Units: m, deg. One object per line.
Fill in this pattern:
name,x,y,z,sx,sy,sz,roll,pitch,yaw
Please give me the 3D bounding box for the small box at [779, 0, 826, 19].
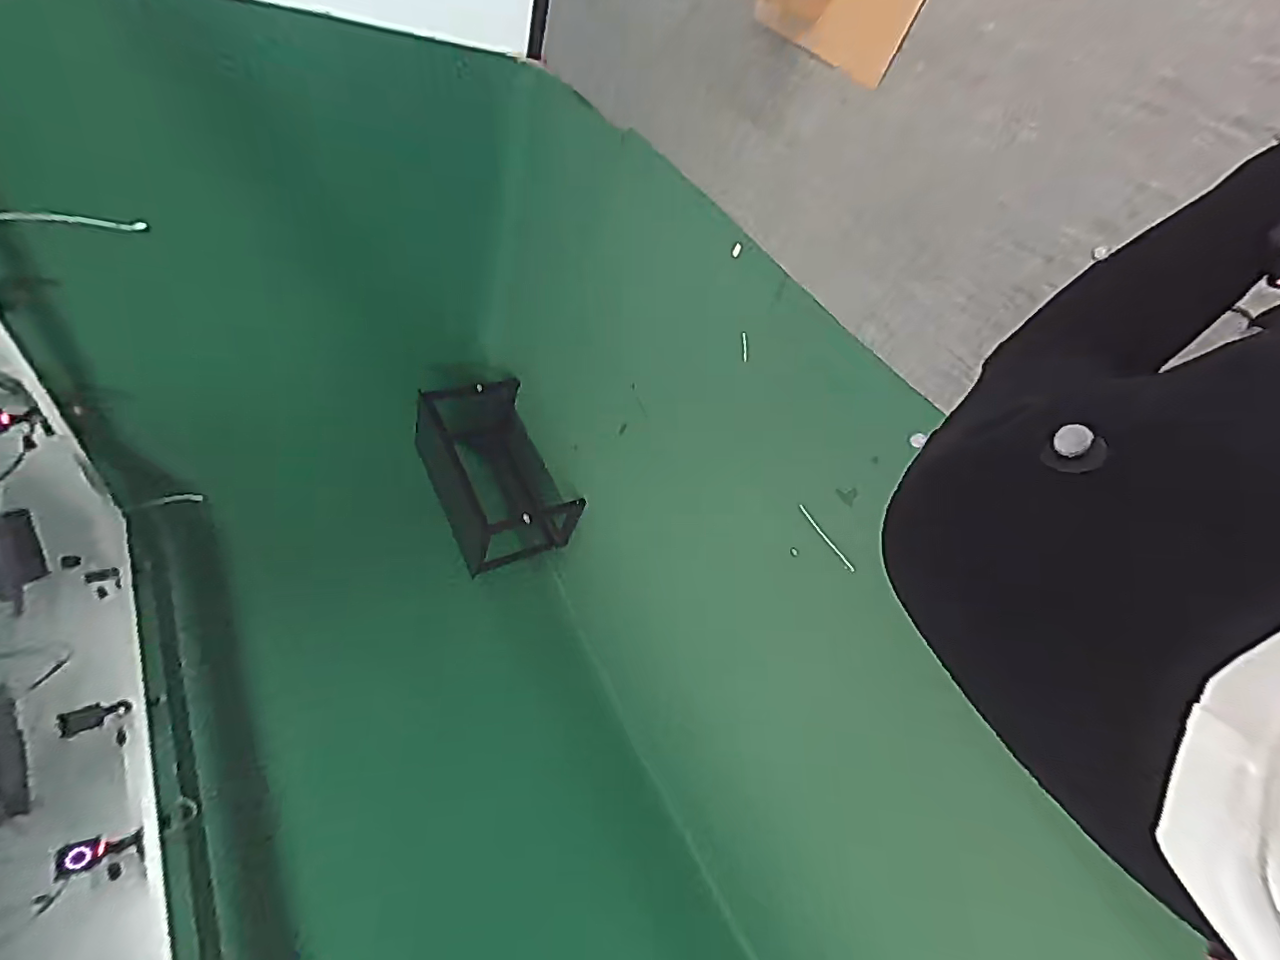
small box,0.471,-1.497,1.567,0.168,0.176,0.179,61,144,20
